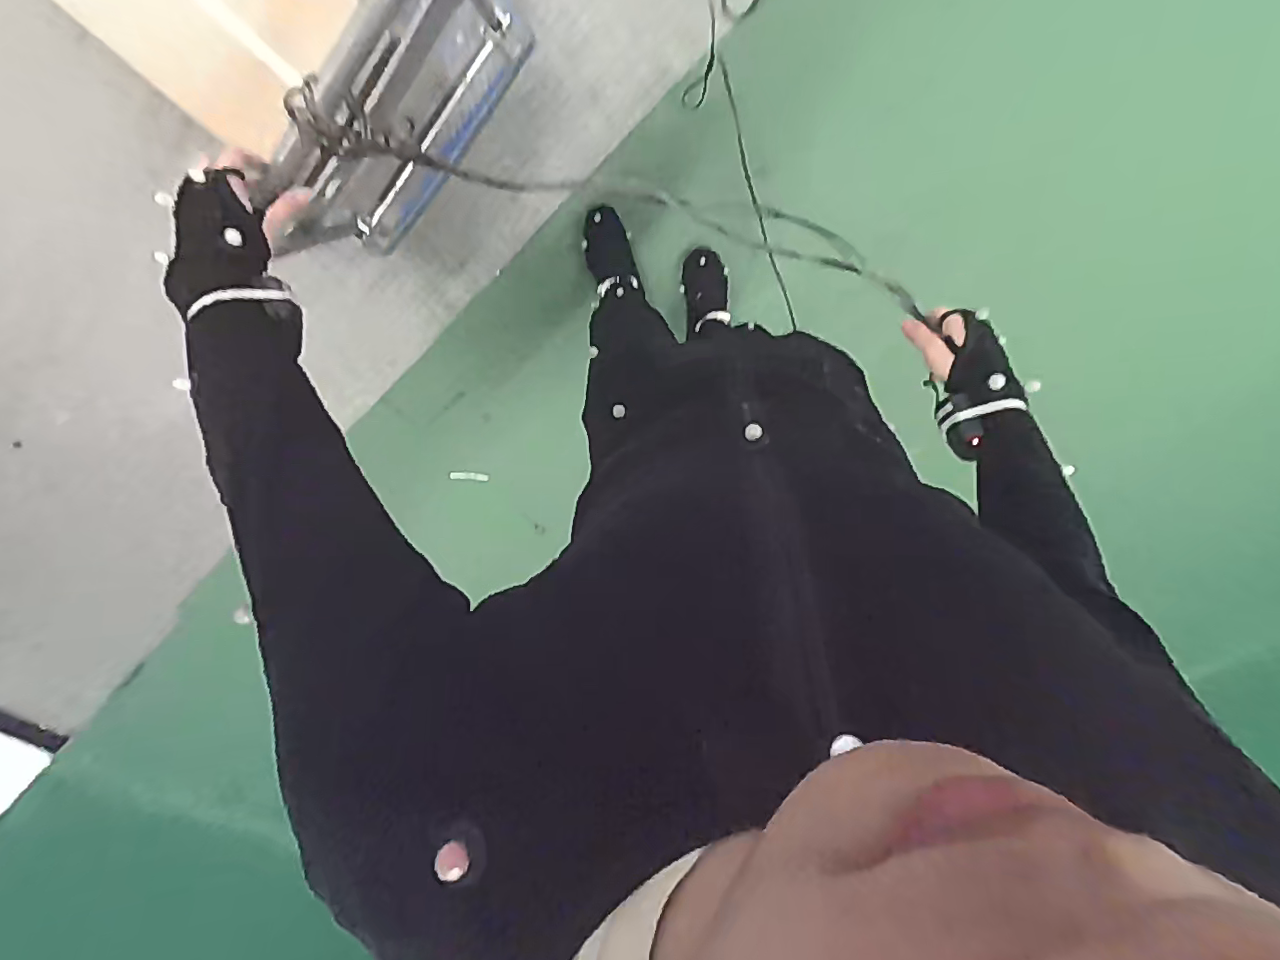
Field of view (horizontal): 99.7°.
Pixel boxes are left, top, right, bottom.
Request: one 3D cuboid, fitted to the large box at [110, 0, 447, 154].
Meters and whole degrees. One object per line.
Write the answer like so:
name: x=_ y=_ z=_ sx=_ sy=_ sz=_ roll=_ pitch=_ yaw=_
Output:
large box: x=-0.606 y=-0.819 z=0.889 sx=0.320 sy=0.320 sz=0.408 roll=-41 pitch=113 yaw=20
